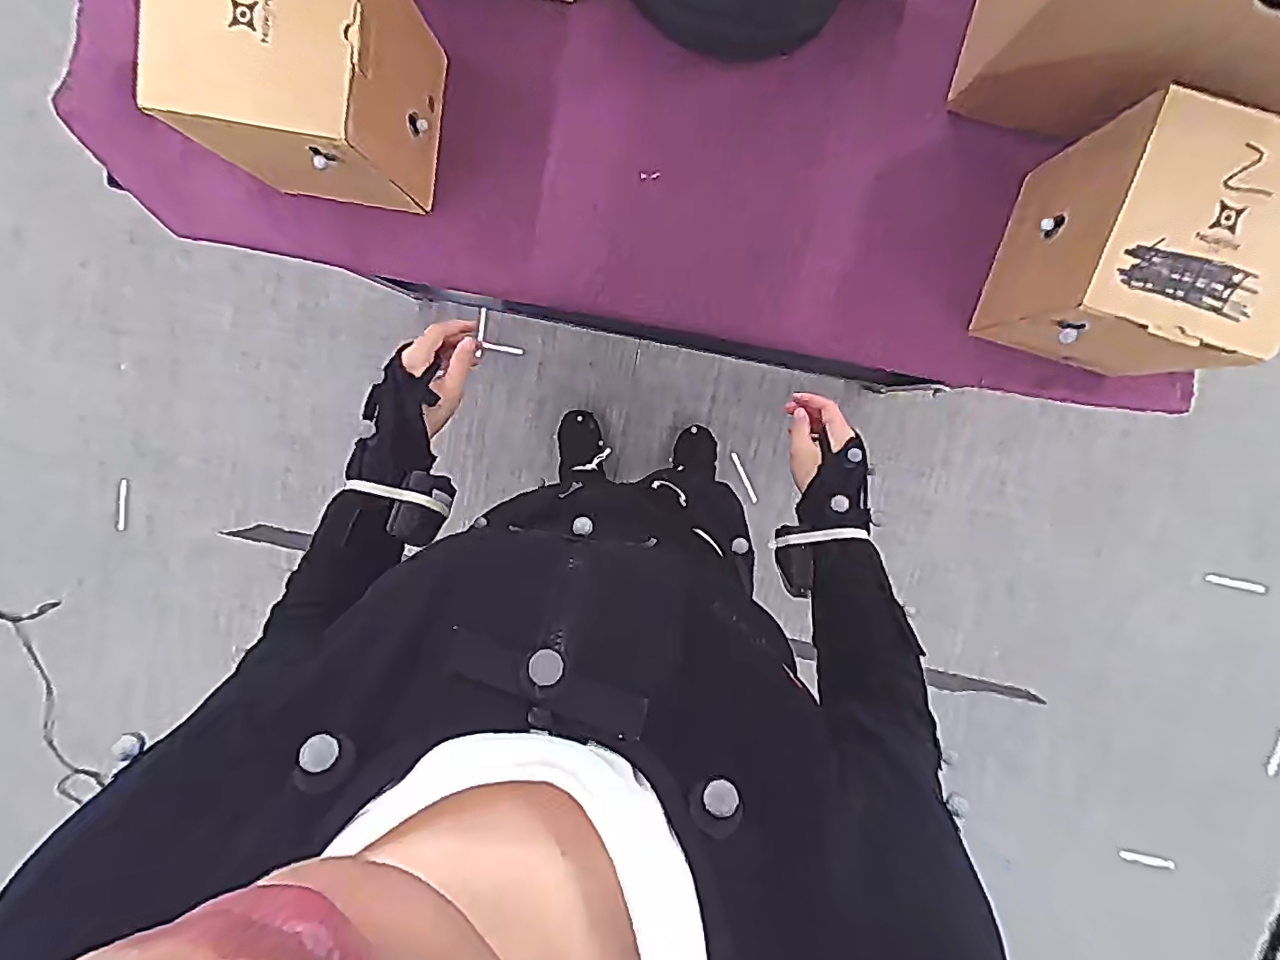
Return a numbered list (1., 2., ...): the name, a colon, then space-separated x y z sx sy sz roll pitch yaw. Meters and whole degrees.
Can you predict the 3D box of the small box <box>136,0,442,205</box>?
1. small box: -0.311 -0.382 0.510 0.179 0.176 0.168 8 97 -1
